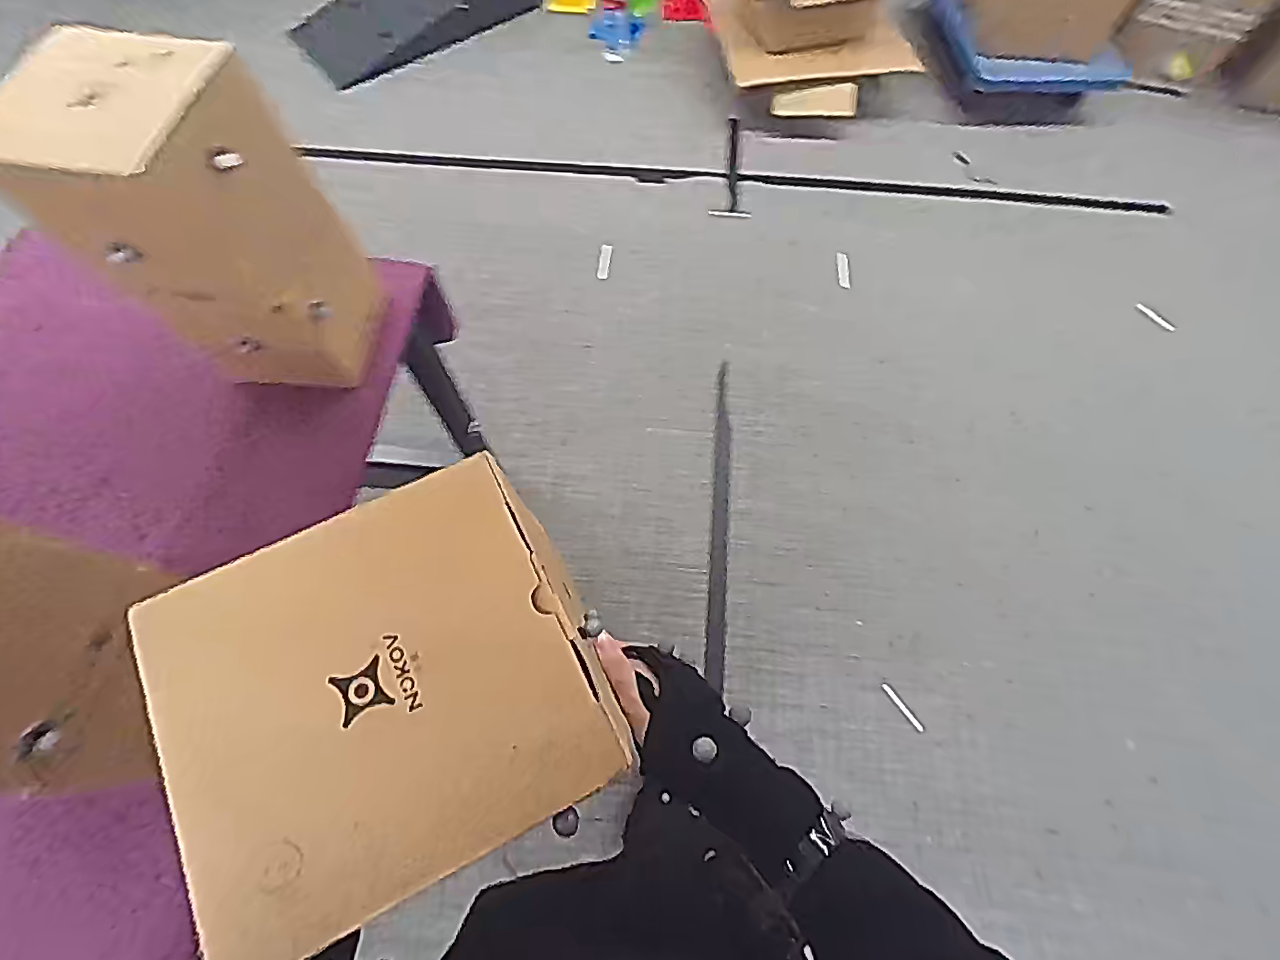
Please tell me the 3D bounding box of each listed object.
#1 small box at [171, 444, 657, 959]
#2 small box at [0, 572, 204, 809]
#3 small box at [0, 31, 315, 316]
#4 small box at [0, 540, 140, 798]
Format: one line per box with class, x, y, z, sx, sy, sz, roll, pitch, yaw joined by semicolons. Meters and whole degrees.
small box;-0.104;0.111;0.312;0.179;0.176;0.168;-25;74;-10
small box;-0.509;0.183;0.499;0.168;0.176;0.179;6;66;1
small box;-0.458;-0.284;0.525;0.168;0.176;0.179;7;67;2
small box;-0.498;0.115;0.349;0.179;0.176;0.168;7;67;2
